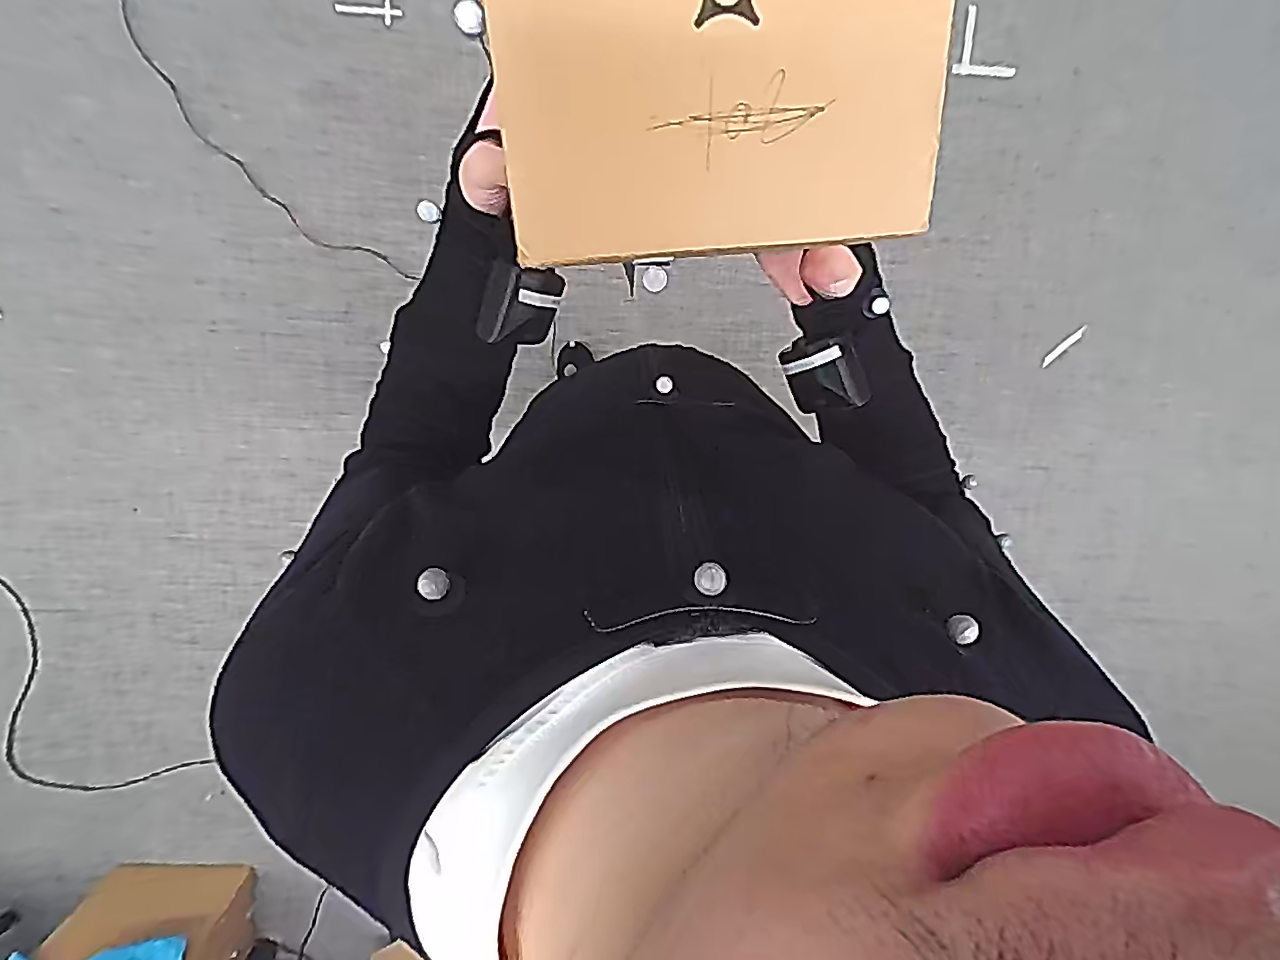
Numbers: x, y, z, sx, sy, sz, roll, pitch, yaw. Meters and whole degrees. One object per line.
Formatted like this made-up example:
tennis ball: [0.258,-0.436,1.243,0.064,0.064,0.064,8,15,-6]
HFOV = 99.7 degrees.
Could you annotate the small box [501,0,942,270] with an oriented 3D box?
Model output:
small box: [0.022,-0.204,0.269,0.168,0.176,0.179,-6,112,-4]
